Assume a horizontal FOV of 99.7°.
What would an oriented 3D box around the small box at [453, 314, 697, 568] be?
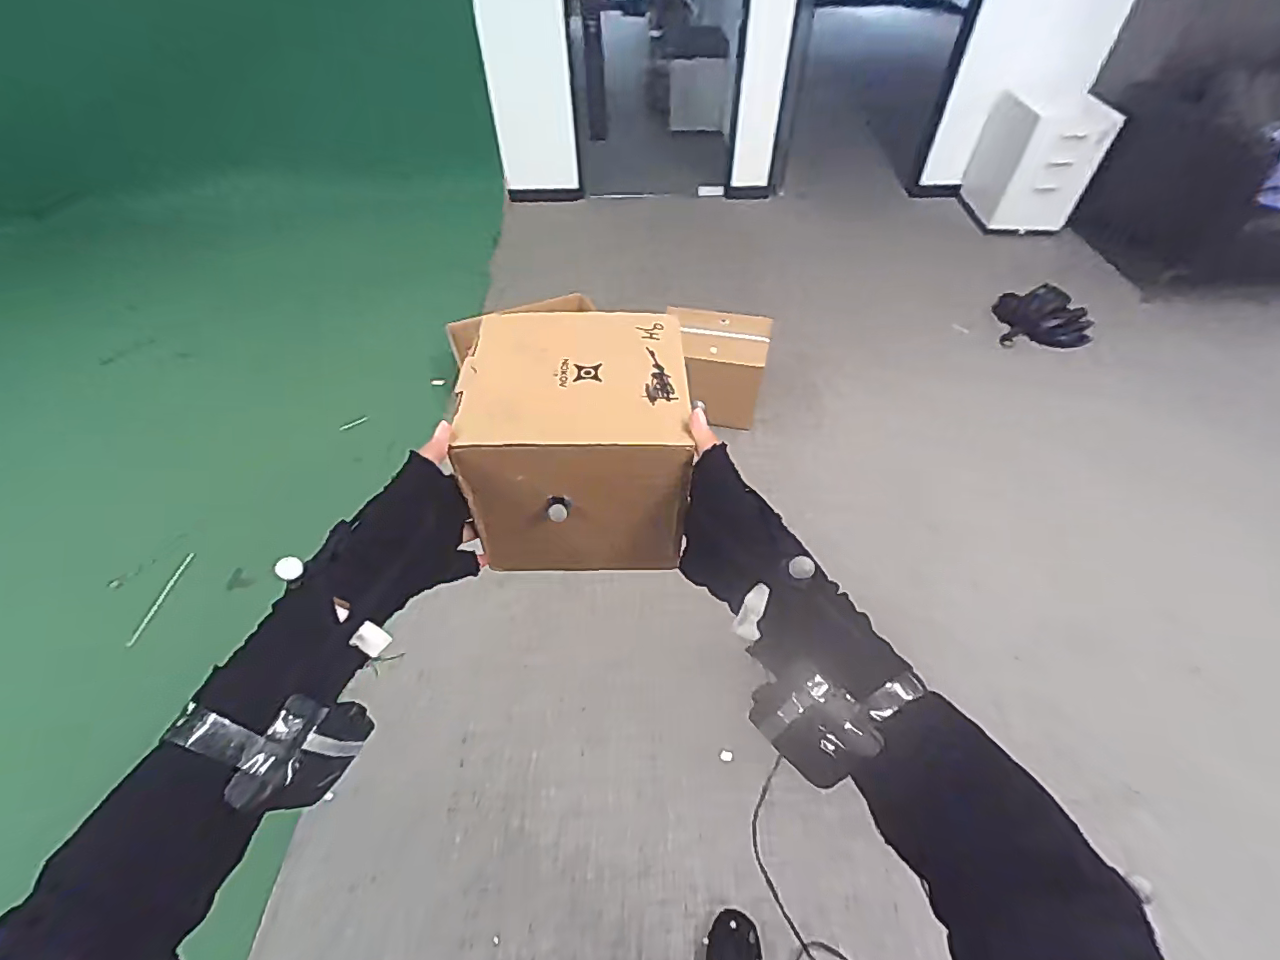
[{"bbox_3d":[-0.046,-0.031,0.490,0.179,0.176,0.168,-1,50,-1],"label":"small box"}]
